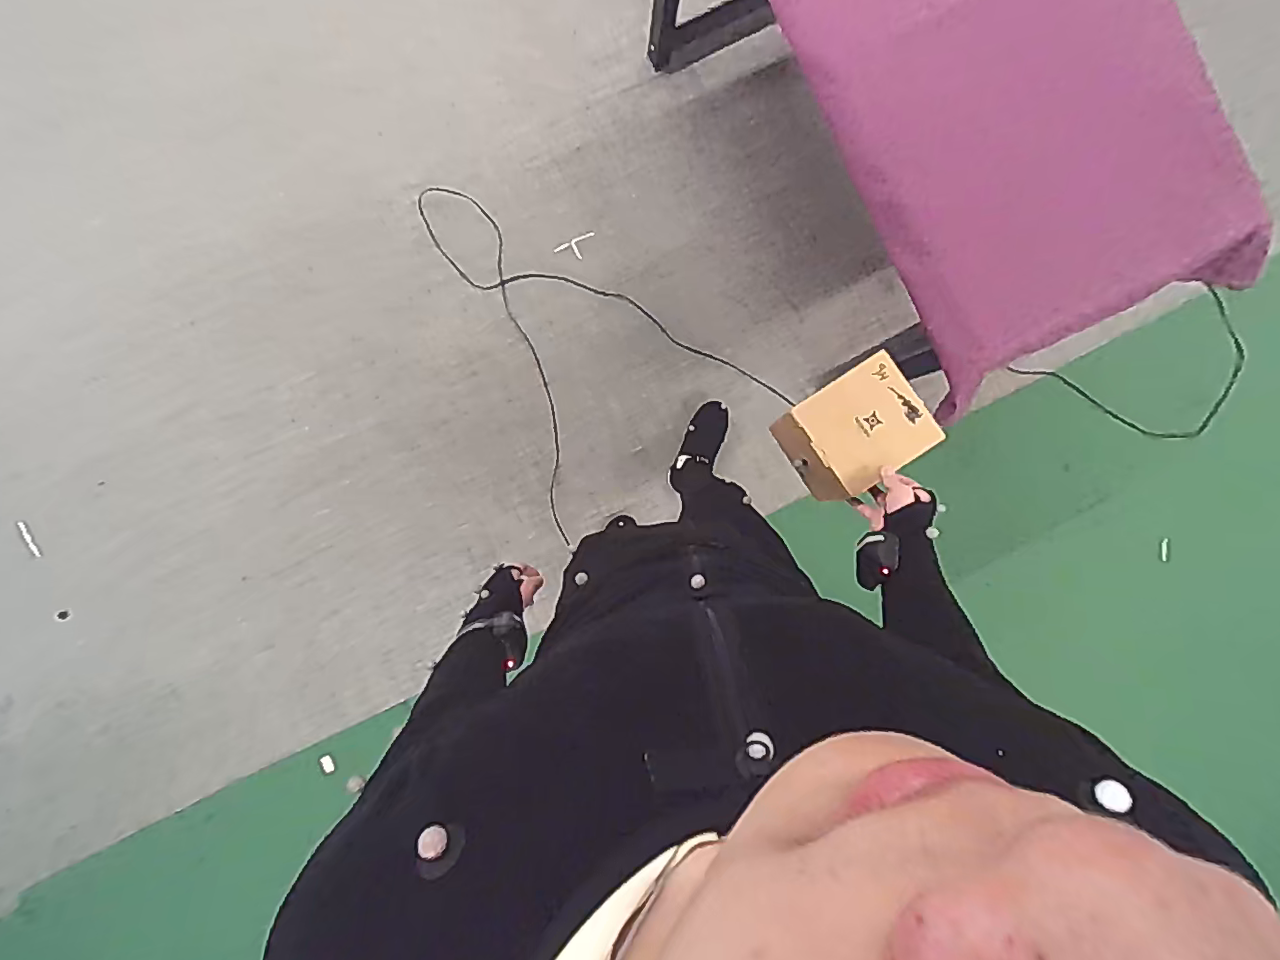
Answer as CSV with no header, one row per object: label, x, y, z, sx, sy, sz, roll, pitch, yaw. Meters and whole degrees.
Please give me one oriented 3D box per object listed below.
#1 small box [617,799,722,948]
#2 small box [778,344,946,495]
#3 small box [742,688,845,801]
small box,0.062,0.877,1.224,0.168,0.176,0.179,-33,90,-2
small box,0.344,-0.086,0.884,0.179,0.176,0.168,-33,86,0
small box,0.392,0.676,1.407,0.179,0.176,0.168,-28,93,-3
